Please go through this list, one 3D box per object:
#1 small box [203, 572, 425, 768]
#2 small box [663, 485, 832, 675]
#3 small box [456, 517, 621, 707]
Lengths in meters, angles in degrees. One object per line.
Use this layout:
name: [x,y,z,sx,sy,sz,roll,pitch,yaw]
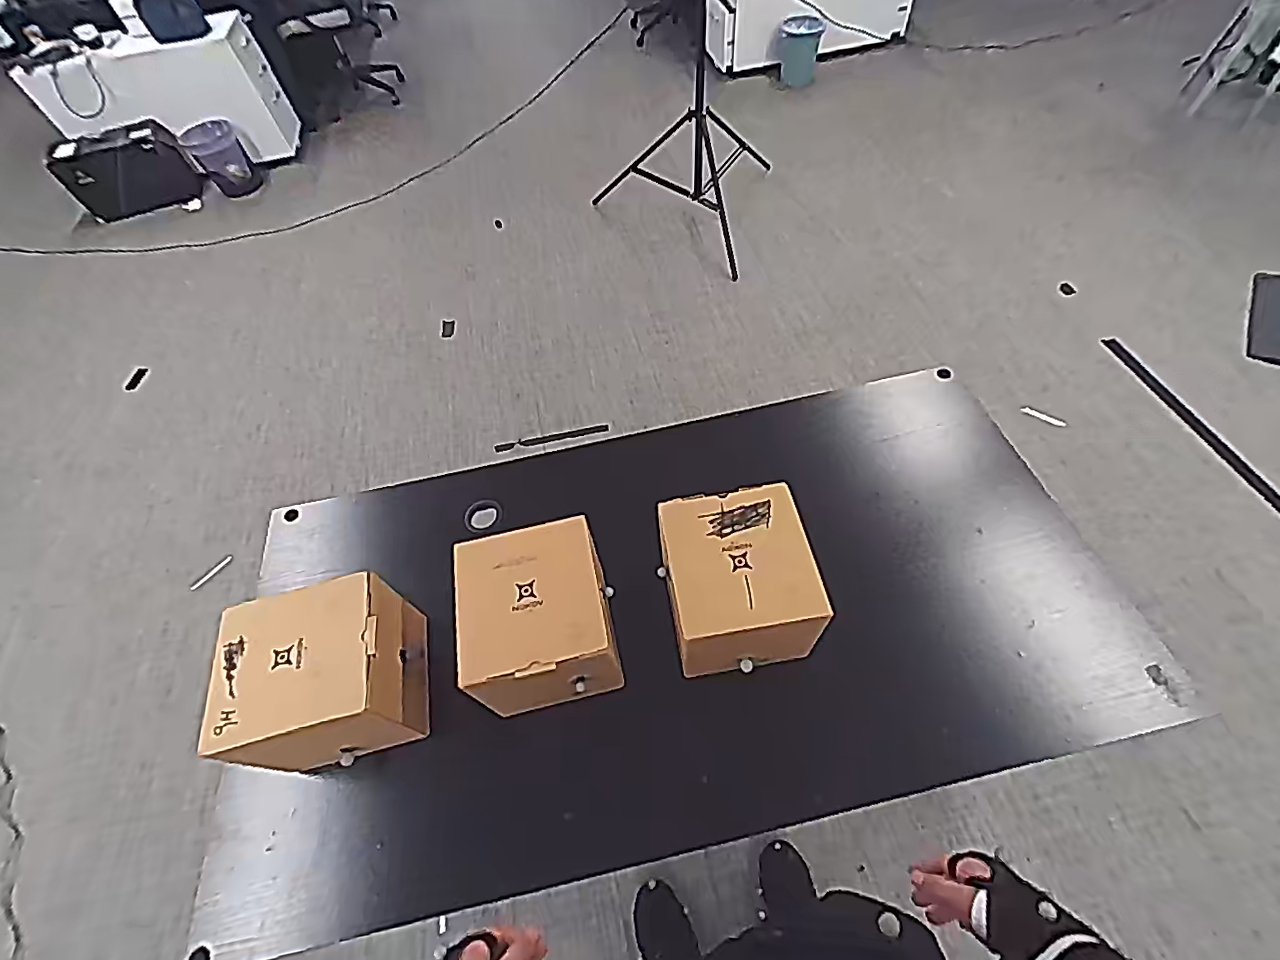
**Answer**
small box: [-0.377,0.239,0.668,0.179,0.176,0.168,-14,56,-6]
small box: [0.122,0.132,0.695,0.168,0.176,0.179,-9,57,-1]
small box: [-0.124,0.176,0.690,0.168,0.176,0.179,-13,56,-4]
